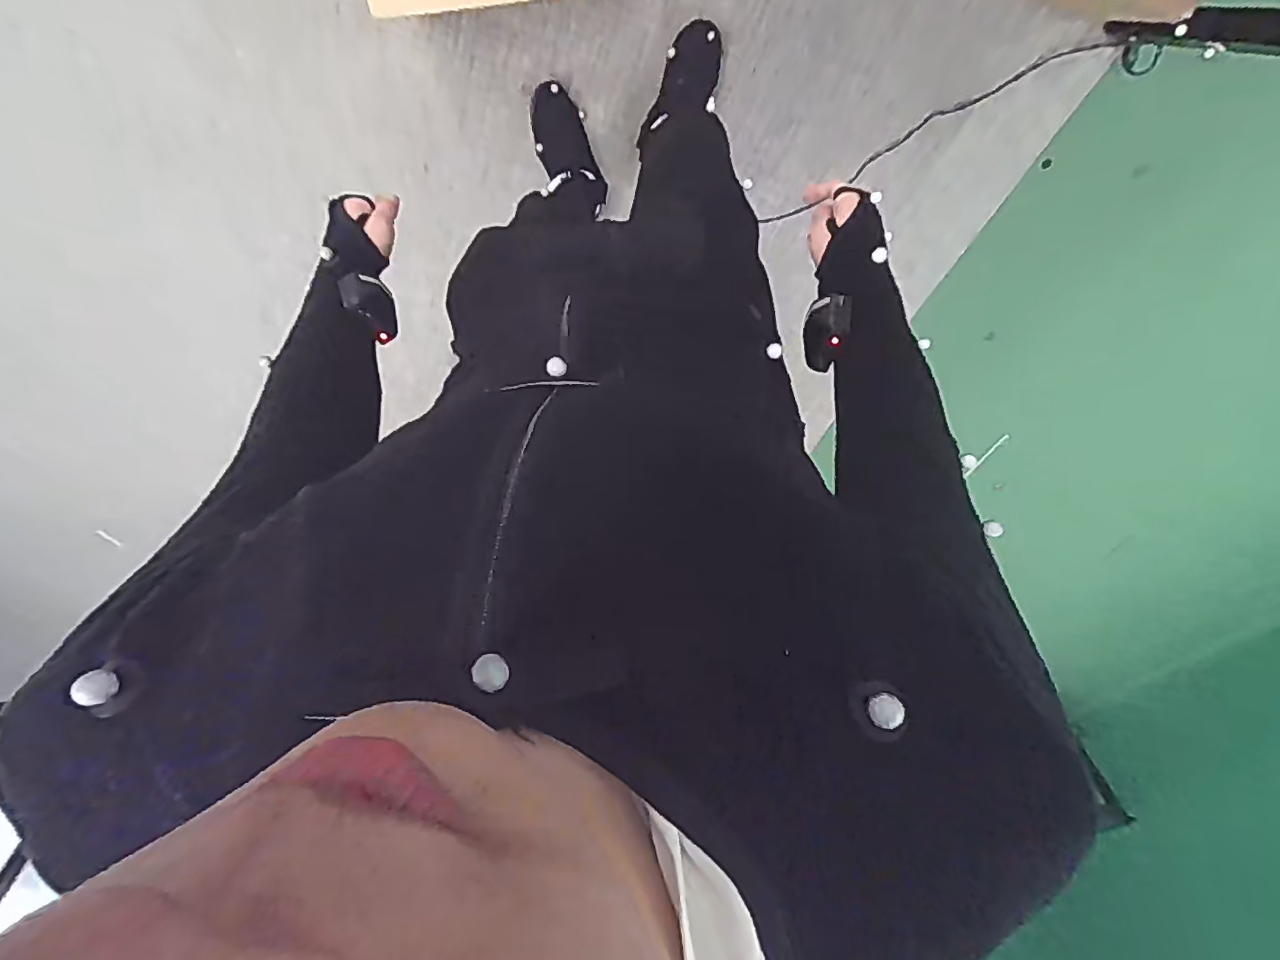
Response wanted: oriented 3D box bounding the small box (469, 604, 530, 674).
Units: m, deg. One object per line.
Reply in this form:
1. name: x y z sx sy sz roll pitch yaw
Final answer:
1. small box: -0.536 0.612 2.084 0.168 0.176 0.179 24 125 -21

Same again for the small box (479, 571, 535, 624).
1. small box: -0.538 0.504 2.205 0.168 0.176 0.179 21 125 -18
